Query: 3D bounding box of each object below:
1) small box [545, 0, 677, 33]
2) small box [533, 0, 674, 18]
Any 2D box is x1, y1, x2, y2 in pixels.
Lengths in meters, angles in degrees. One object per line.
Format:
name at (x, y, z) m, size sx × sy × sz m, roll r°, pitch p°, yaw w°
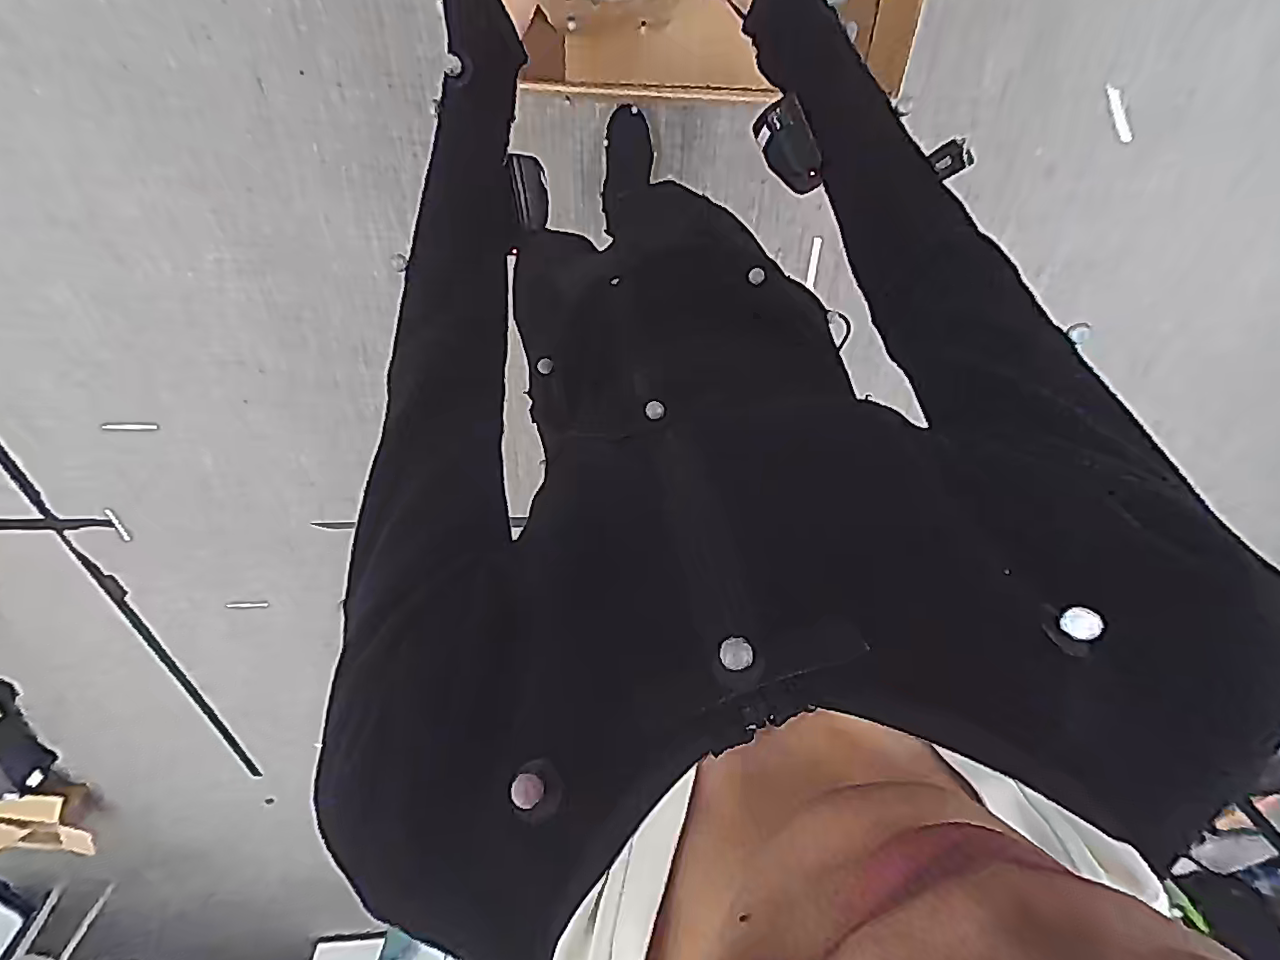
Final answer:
small box at (-0.045, -0.727, 0.739) m, size 0.179 × 0.176 × 0.168 m, roll -3°, pitch 125°, yaw 0°
small box at (-0.040, -0.637, 0.602) m, size 0.168 × 0.176 × 0.179 m, roll -3°, pitch 124°, yaw -2°
